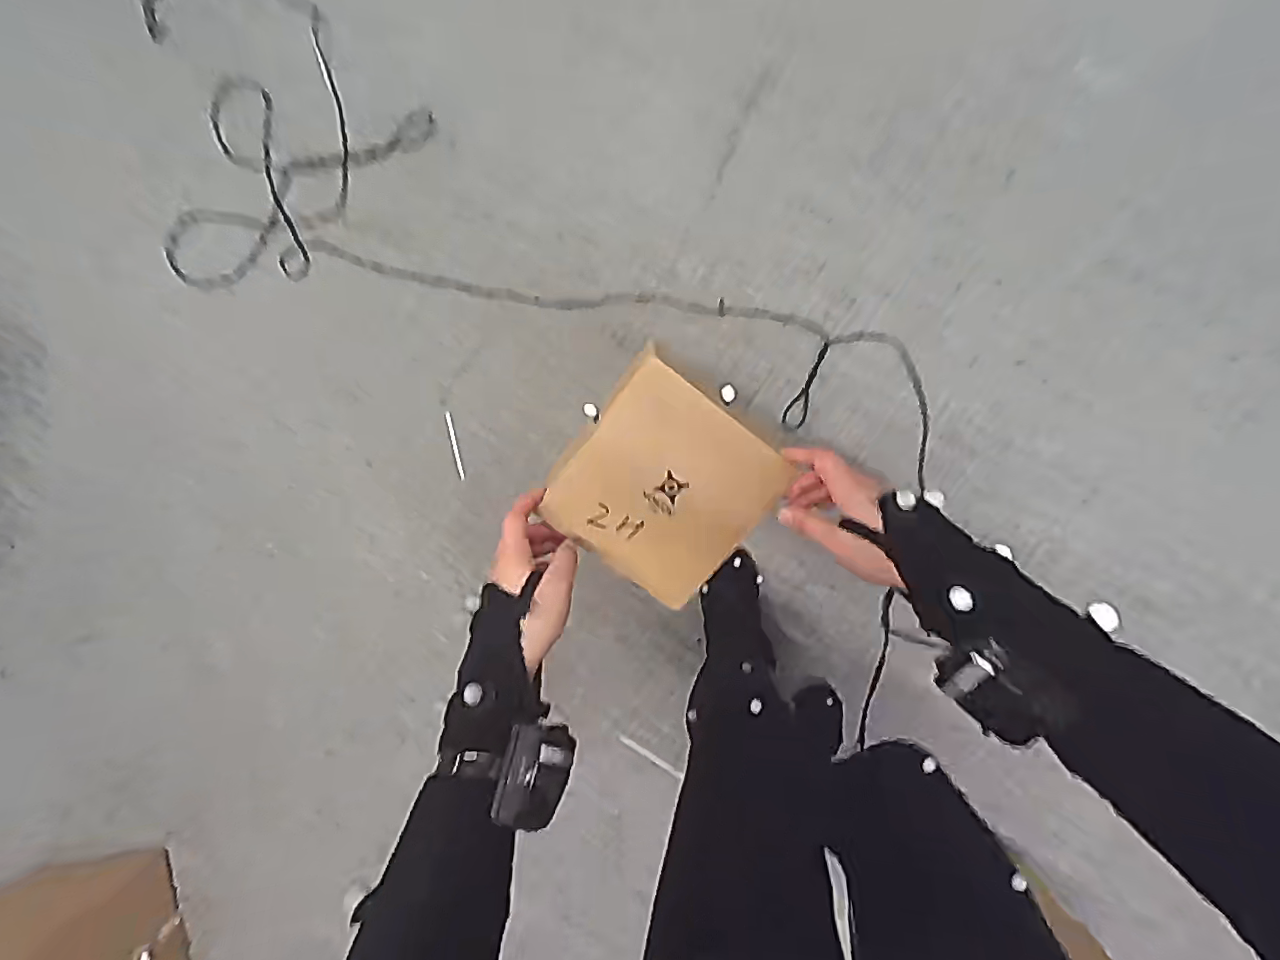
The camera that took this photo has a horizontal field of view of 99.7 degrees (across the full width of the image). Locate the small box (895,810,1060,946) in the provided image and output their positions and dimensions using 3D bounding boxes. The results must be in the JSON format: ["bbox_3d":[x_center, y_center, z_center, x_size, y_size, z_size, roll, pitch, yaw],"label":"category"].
[{"bbox_3d":[0.587,0.729,0.955,0.179,0.176,0.168,30,95,7],"label":"small box"}]
